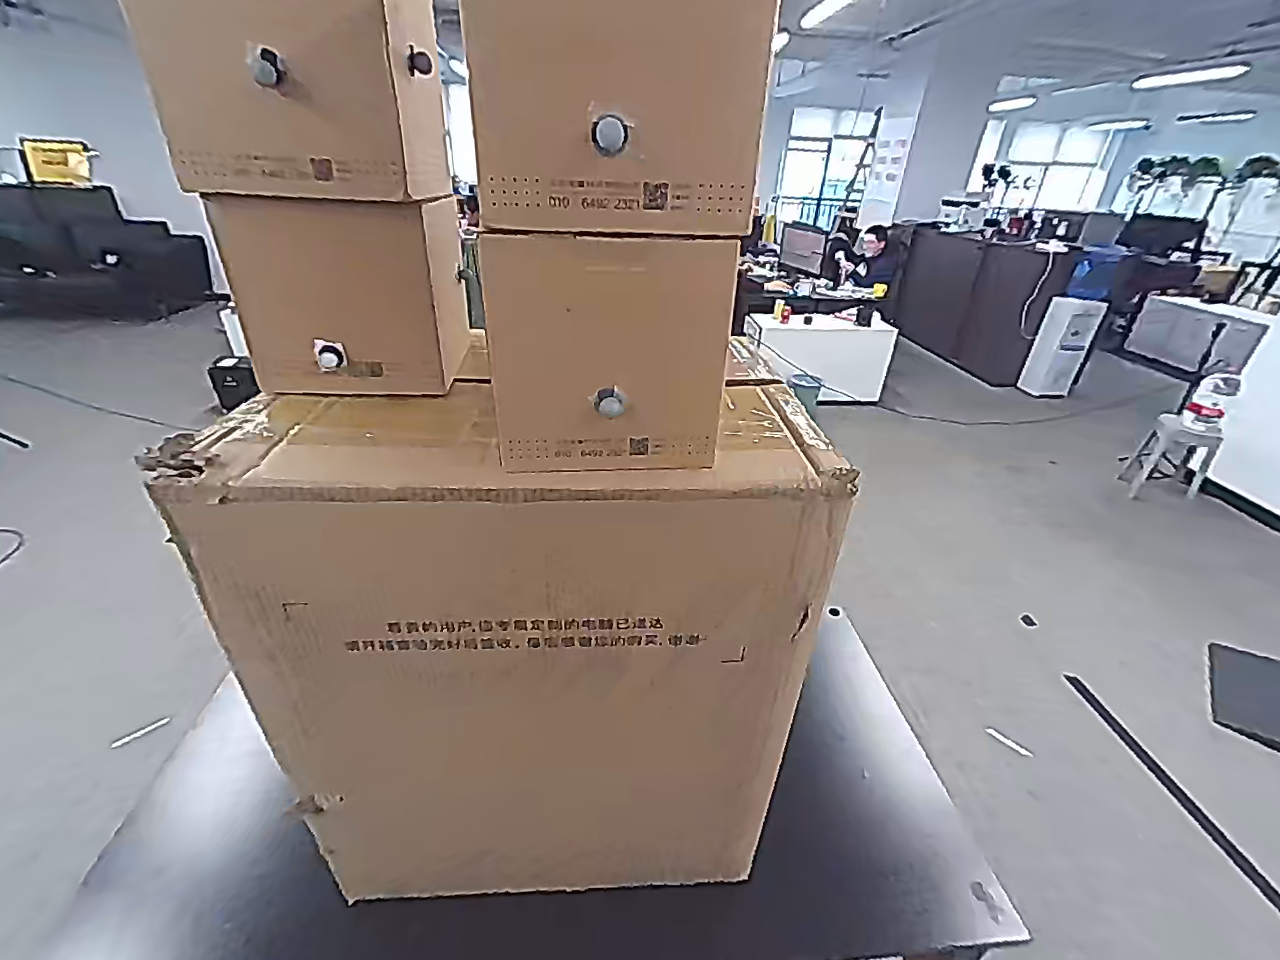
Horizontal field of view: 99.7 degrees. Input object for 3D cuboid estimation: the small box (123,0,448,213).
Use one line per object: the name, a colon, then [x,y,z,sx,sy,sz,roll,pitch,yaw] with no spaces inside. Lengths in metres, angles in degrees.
small box: [-0.265,-0.320,0.447,0.168,0.176,0.179,-1,30,-7]

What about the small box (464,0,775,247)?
small box: [-0.019,-0.260,0.364,0.168,0.176,0.179,-2,31,-5]

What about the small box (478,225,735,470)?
small box: [-0.029,-0.120,0.450,0.168,0.176,0.179,-2,31,-6]

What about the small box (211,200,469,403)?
small box: [-0.271,-0.185,0.542,0.168,0.176,0.179,-3,31,-8]
